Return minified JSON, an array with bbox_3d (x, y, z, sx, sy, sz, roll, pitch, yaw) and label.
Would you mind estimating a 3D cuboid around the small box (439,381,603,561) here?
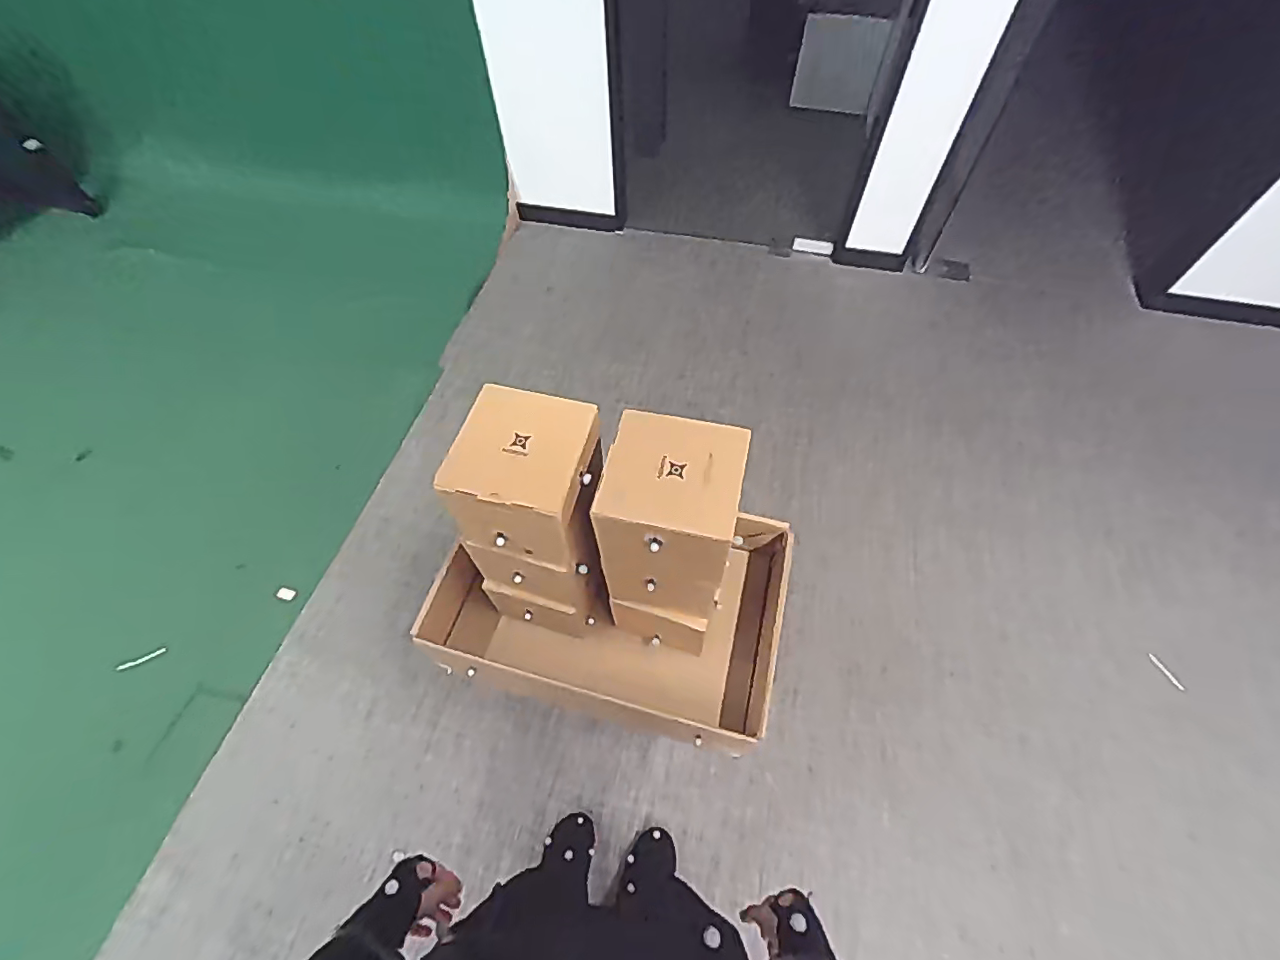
[{"bbox_3d":[-0.153,-0.009,0.771,0.168,0.176,0.179,12,60,7],"label":"small box"}]
